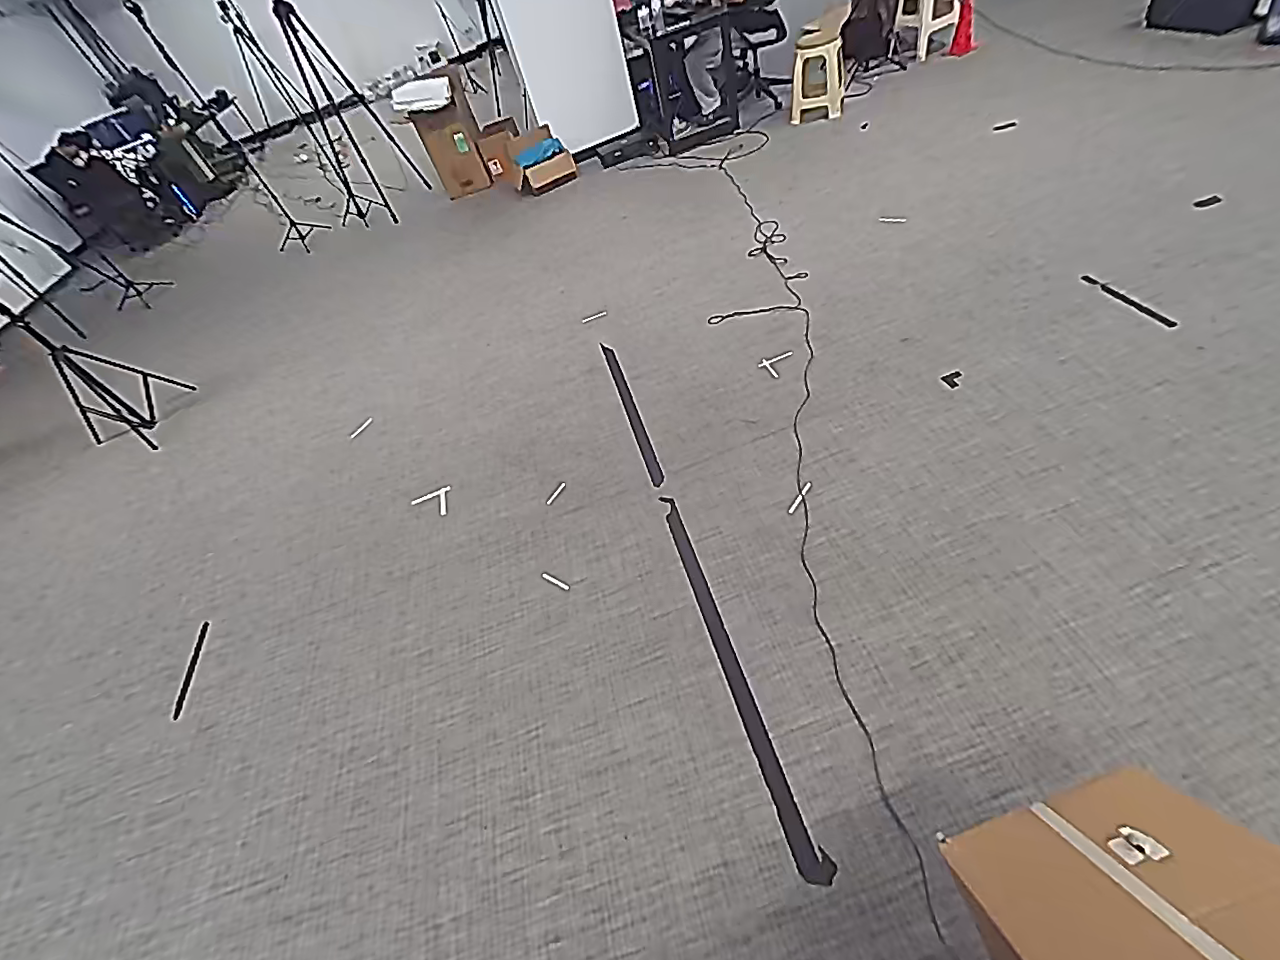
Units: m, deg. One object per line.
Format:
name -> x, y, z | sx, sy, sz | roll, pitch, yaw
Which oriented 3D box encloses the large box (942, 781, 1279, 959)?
large box -> 0.640, 0.628, 0.599 | 0.320, 0.408, 0.320 | -23, 84, 2
